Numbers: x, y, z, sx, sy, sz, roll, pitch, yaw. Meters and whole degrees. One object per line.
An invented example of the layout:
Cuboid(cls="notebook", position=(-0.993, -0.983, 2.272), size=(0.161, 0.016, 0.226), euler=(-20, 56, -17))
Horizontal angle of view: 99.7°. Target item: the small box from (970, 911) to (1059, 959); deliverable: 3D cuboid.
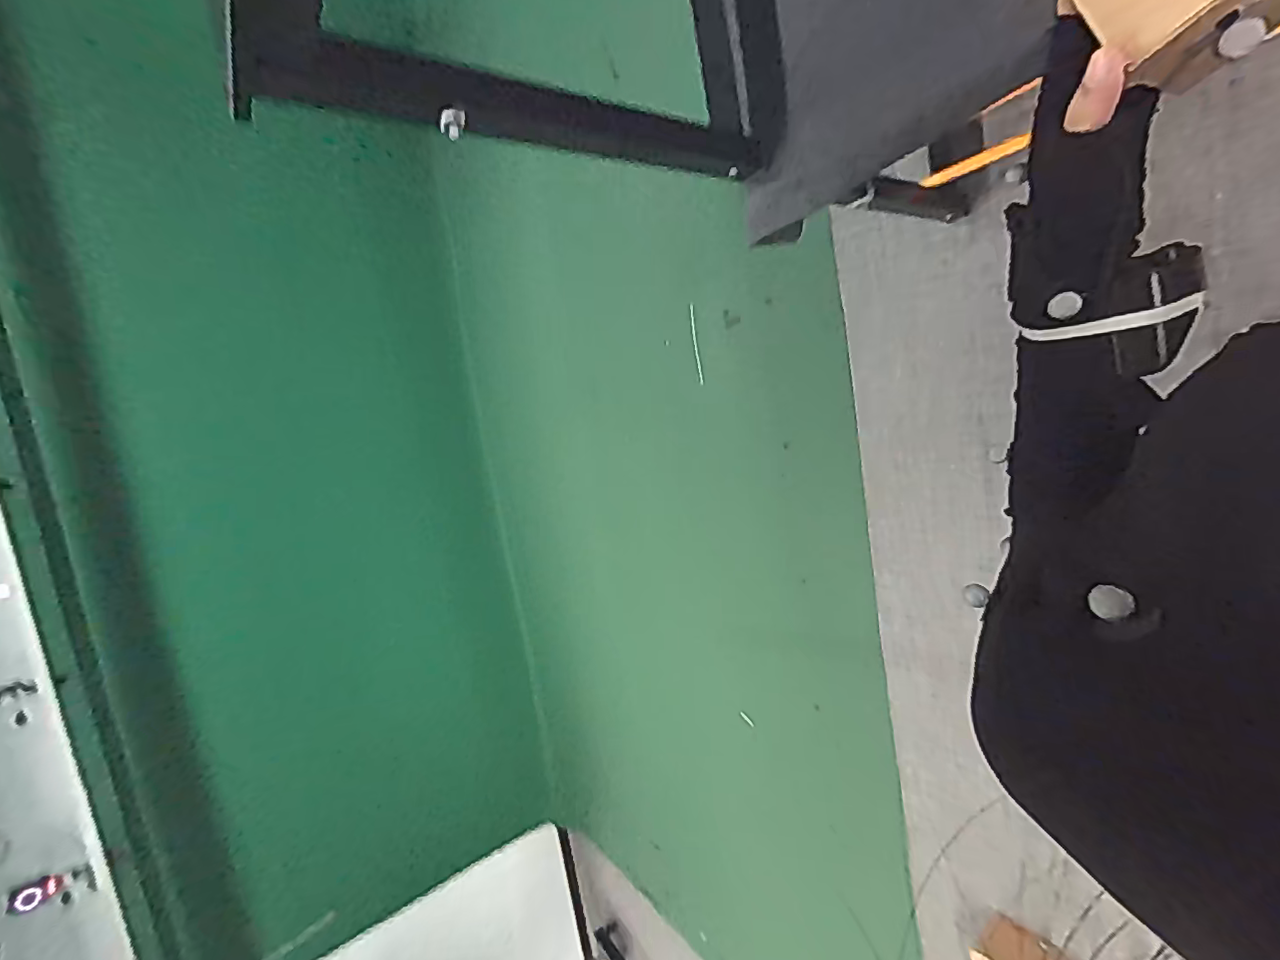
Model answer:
Cuboid(cls="small box", position=(1.050, 1.375, 1.512), size=(0.168, 0.176, 0.179), euler=(3, 104, 54))
